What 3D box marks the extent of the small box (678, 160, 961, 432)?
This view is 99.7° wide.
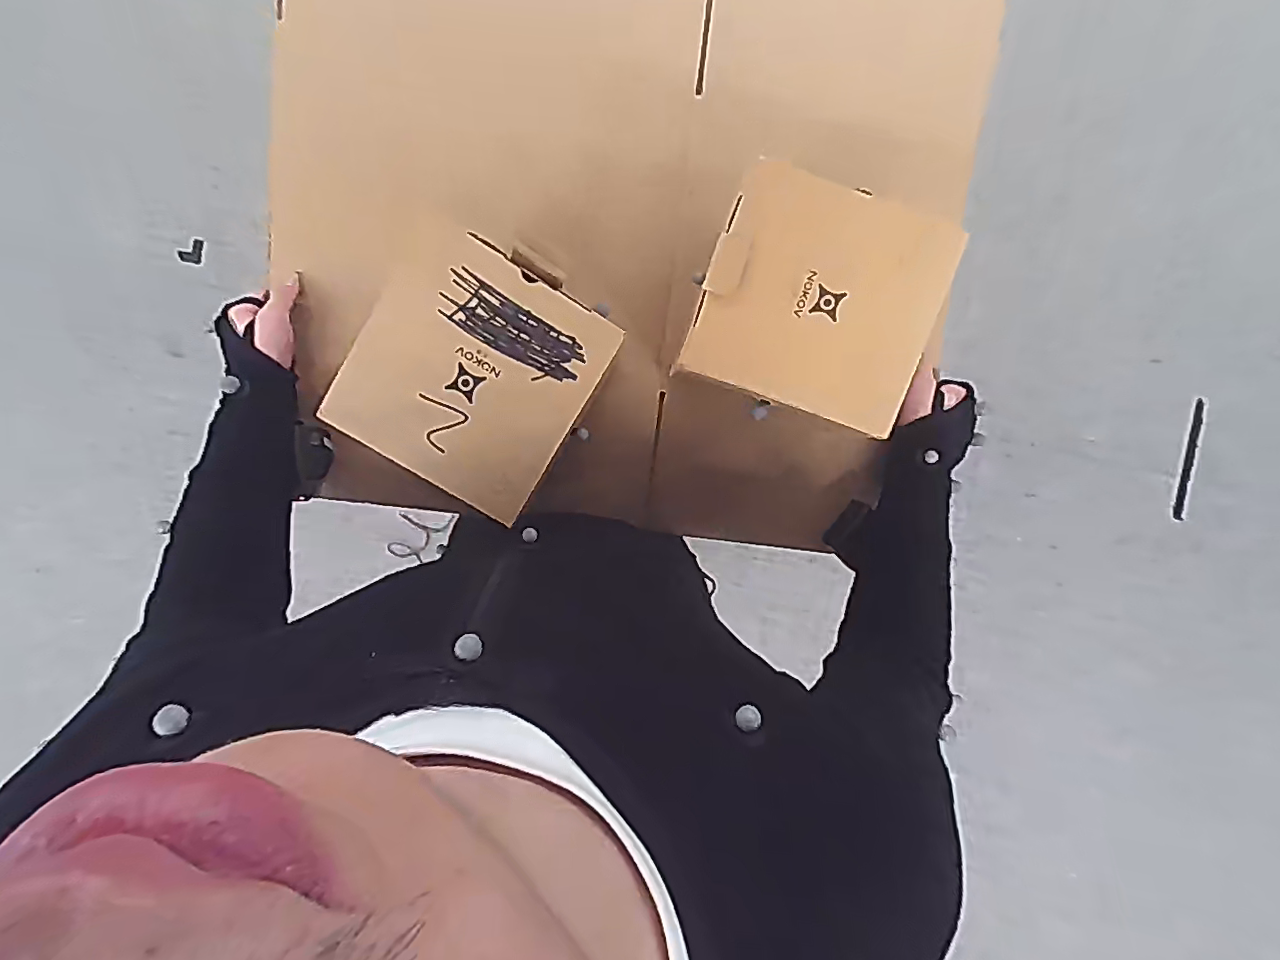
[{"bbox_3d":[0.144,-0.153,0.505,0.179,0.176,0.168,20,97,0],"label":"small box"}]
